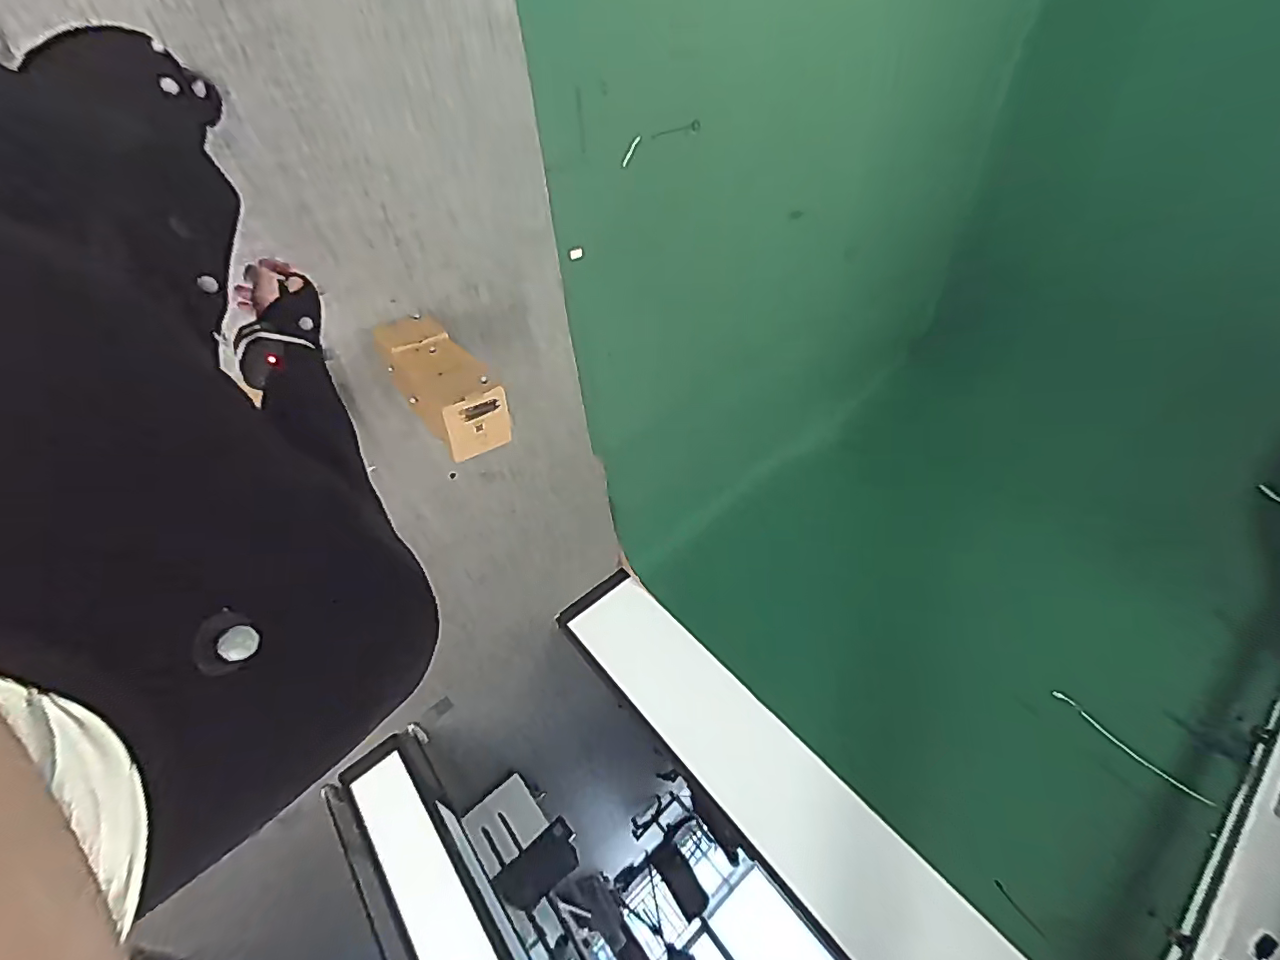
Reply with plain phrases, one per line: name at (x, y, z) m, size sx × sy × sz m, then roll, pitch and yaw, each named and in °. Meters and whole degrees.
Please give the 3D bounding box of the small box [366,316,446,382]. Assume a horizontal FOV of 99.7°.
small box at (-0.676, -0.366, 1.589) m, size 0.168 × 0.176 × 0.179 m, roll -29°, pitch 141°, yaw -29°

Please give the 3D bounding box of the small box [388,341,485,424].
small box at (-0.574, -0.274, 1.516) m, size 0.179 × 0.176 × 0.168 m, roll 2°, pitch 117°, yaw -50°

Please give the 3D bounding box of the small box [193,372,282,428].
small box at (-1.009, -0.159, 1.396) m, size 0.168 × 0.176 × 0.179 m, roll -31°, pitch 140°, yaw -27°
